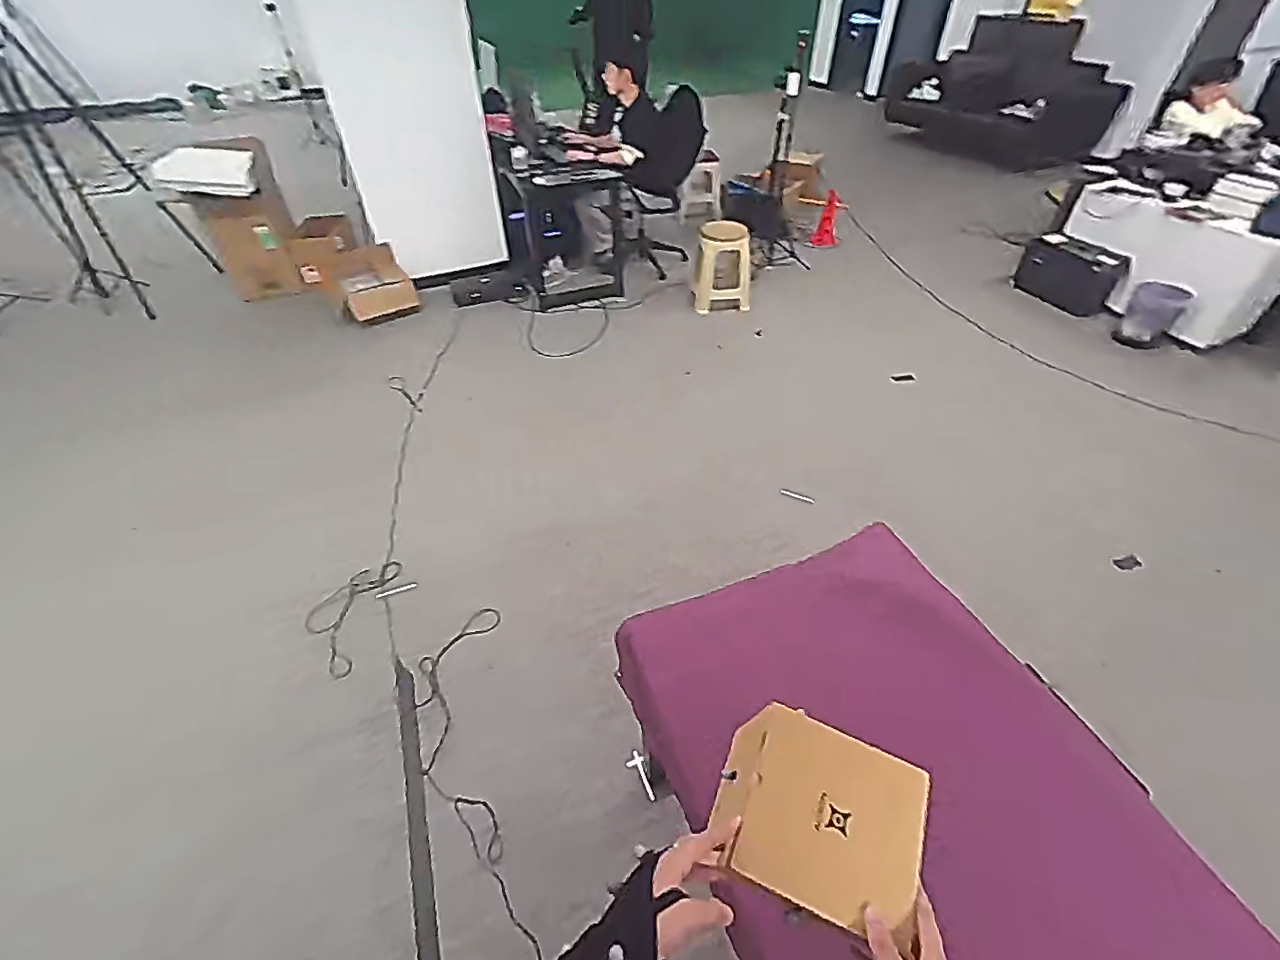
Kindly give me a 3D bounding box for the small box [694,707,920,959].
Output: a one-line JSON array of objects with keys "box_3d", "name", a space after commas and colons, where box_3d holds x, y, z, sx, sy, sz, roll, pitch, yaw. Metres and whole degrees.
[{"box_3d": [0.176, 0.382, 0.601, 0.179, 0.176, 0.168, 21, 57, 10], "name": "small box"}]
